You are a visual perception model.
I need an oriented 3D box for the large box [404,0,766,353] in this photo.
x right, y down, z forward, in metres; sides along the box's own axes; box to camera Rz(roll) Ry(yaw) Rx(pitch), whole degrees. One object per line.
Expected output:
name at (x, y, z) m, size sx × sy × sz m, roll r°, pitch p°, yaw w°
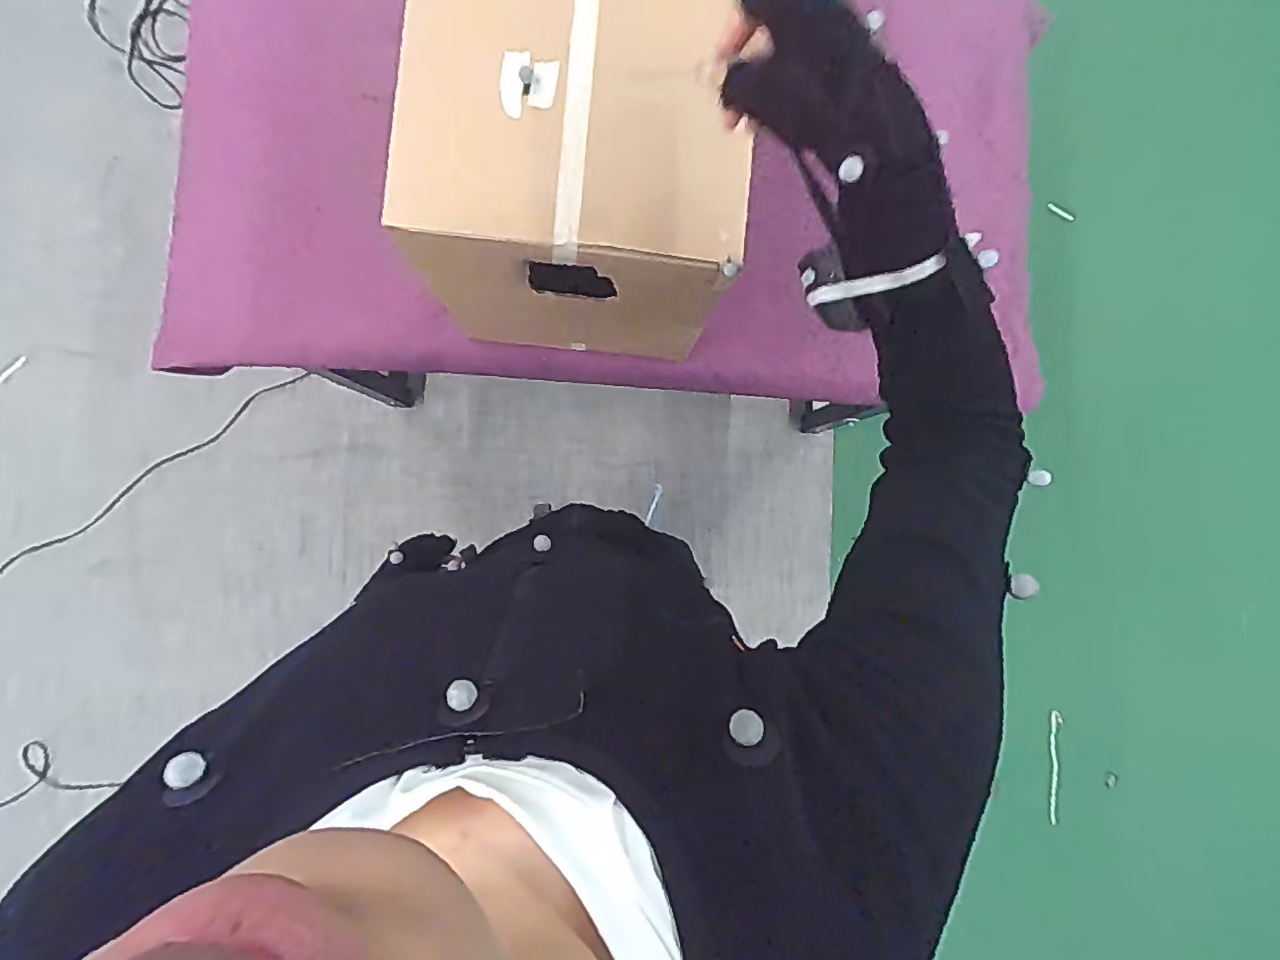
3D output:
large box at (-0.054, -0.400, 0.640) m, size 0.320 × 0.320 × 0.408 m, roll 6°, pitch 88°, yaw -4°
